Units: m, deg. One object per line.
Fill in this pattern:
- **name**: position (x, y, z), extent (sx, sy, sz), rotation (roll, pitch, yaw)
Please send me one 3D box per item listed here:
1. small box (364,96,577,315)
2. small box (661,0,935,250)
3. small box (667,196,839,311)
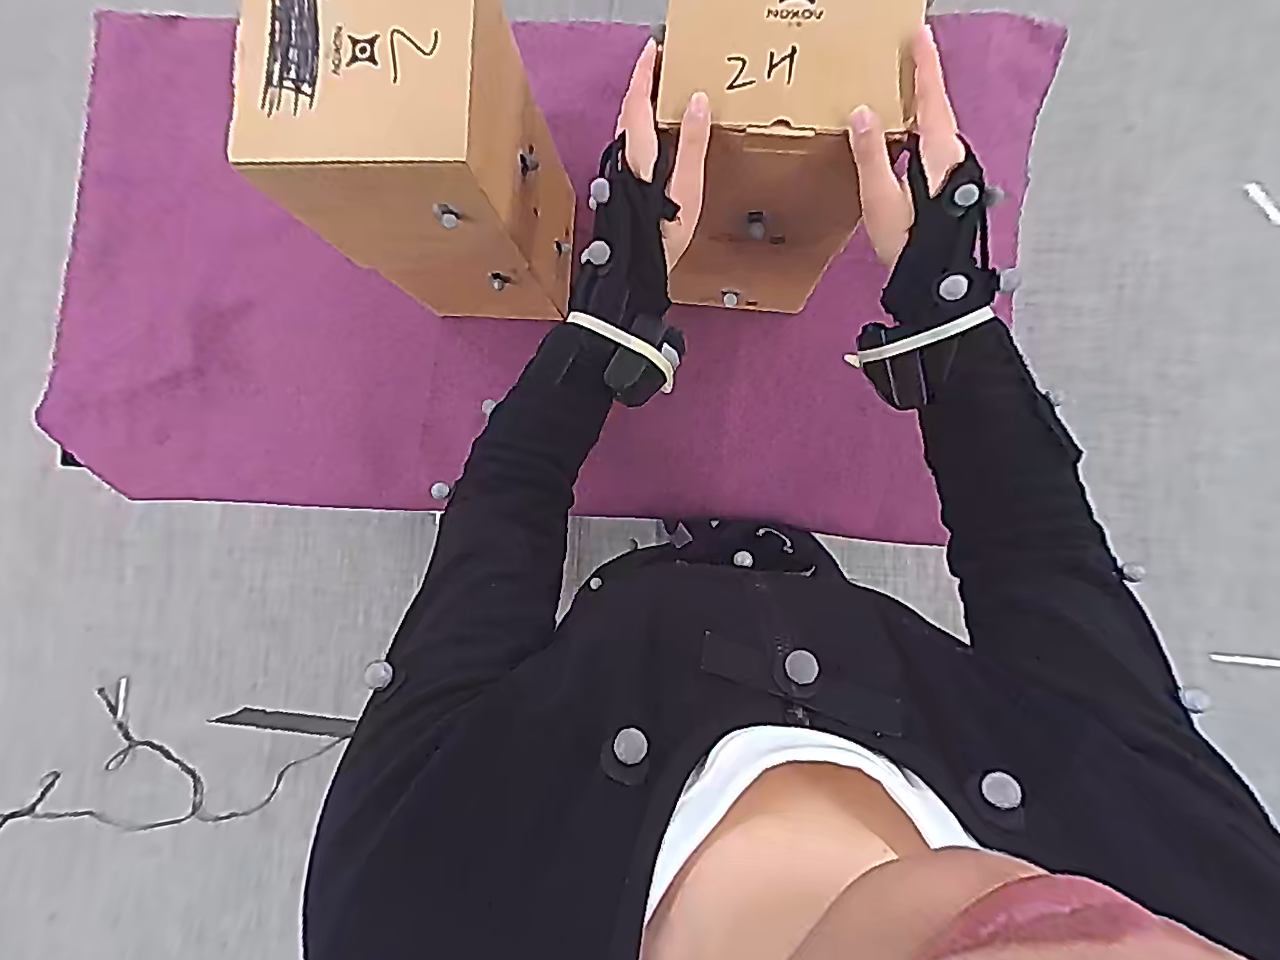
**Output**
- **small box**: position (-0.180, -0.298, 0.617), extent (0.179, 0.176, 0.168), rotation (3, 88, 5)
- **small box**: position (0.111, -0.310, 0.424), extent (0.168, 0.176, 0.179), rotation (7, 88, 6)
- **small box**: position (0.122, -0.305, 0.590), extent (0.168, 0.176, 0.179), rotation (7, 89, 5)
